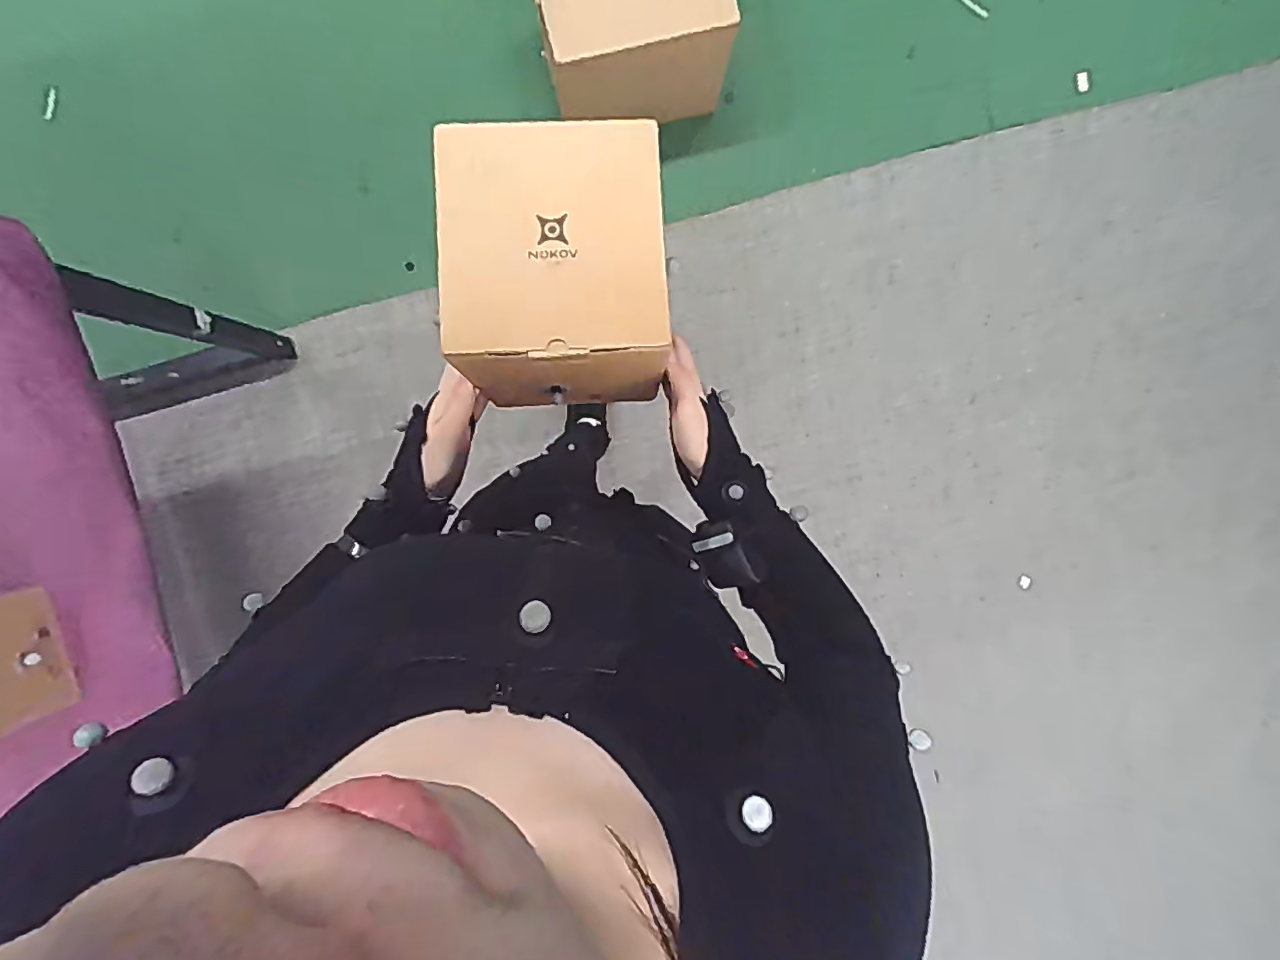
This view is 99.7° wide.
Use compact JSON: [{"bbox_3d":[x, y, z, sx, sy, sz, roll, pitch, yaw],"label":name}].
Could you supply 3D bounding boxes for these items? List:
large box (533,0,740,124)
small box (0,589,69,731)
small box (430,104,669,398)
[{"bbox_3d":[-0.025,-1.062,1.261,0.408,0.320,0.320,-14,94,-2],"label":"large box"},{"bbox_3d":[-0.867,0.245,0.644,0.179,0.176,0.168,-15,94,-2],"label":"small box"},{"bbox_3d":[-0.068,-0.177,0.462,0.168,0.176,0.179,-4,86,-2],"label":"small box"}]
